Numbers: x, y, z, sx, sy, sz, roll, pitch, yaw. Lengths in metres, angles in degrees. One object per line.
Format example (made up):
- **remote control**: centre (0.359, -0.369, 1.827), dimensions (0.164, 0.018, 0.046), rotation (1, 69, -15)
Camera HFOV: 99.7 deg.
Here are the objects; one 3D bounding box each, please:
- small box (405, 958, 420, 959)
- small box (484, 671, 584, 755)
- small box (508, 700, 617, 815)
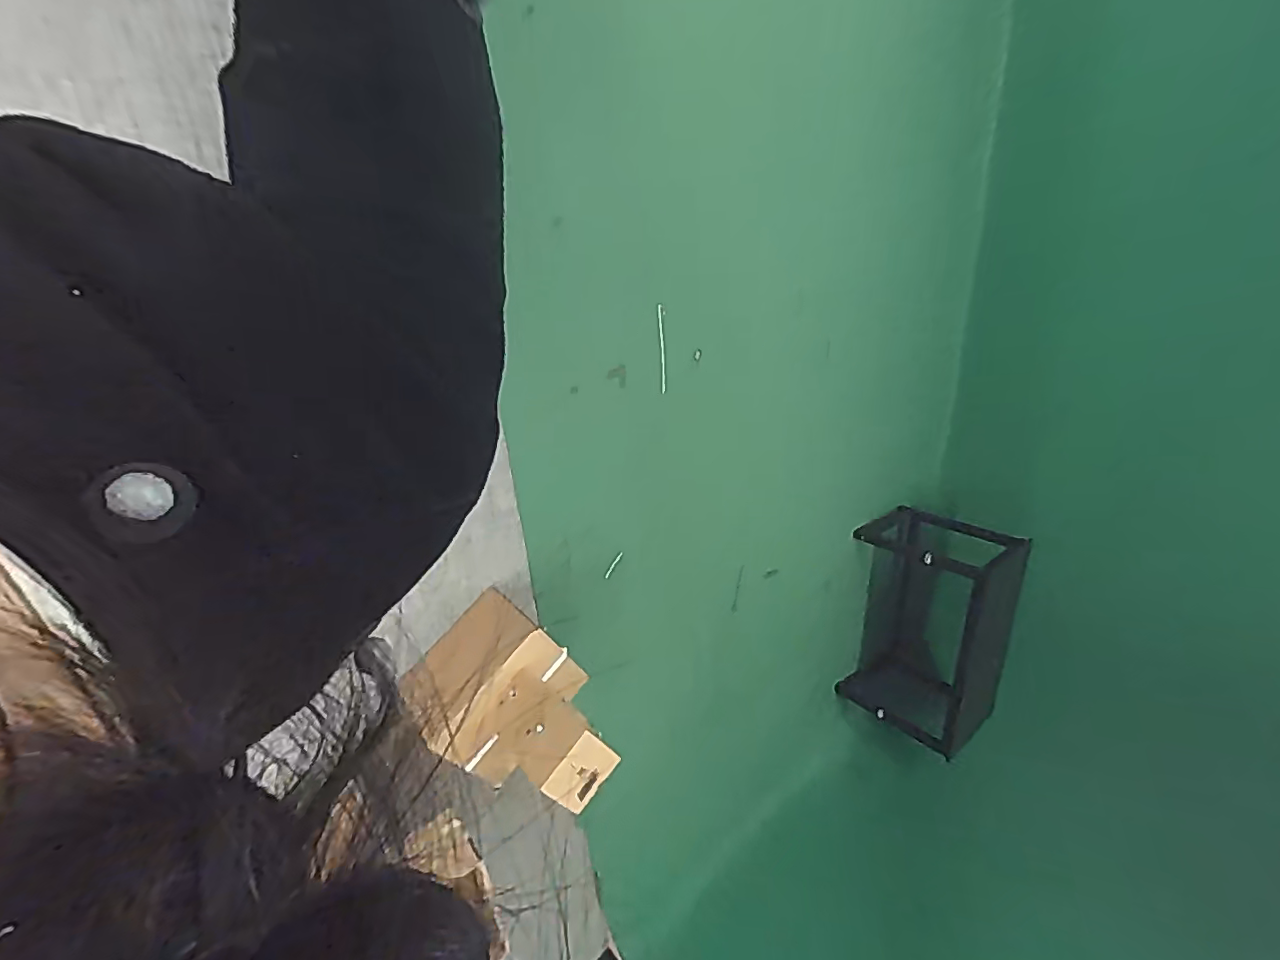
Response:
- **small box**: centre (-0.481, 1.165, 1.140), dimensions (0.168, 0.176, 0.179), rotation (-48, 129, -17)
- **small box**: centre (-0.294, 0.660, 1.491), dimensions (0.168, 0.176, 0.179), rotation (-51, 129, -16)
- **small box**: centre (-0.197, 0.691, 1.363), dimensions (0.168, 0.176, 0.179), rotation (-47, 127, -19)
